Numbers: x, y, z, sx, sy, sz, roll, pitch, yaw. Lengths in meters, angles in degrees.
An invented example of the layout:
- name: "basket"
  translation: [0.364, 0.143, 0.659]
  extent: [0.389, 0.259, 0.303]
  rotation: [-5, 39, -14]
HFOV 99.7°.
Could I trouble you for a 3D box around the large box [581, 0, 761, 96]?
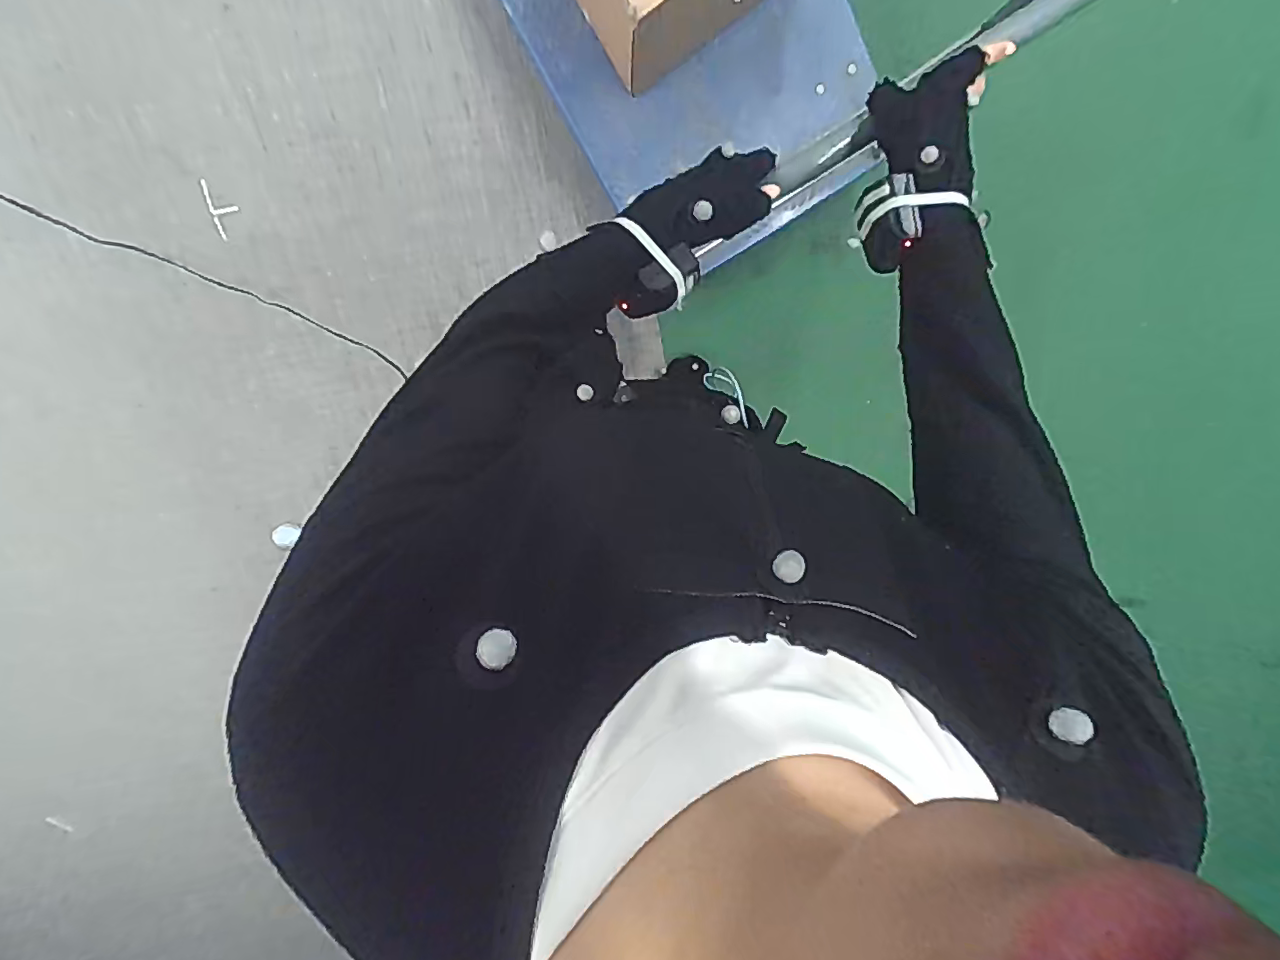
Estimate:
- name: "large box"
  translation: [0.077, -0.946, 0.876]
  extent: [0.408, 0.320, 0.320]
  rotation: [-33, 105, 9]
